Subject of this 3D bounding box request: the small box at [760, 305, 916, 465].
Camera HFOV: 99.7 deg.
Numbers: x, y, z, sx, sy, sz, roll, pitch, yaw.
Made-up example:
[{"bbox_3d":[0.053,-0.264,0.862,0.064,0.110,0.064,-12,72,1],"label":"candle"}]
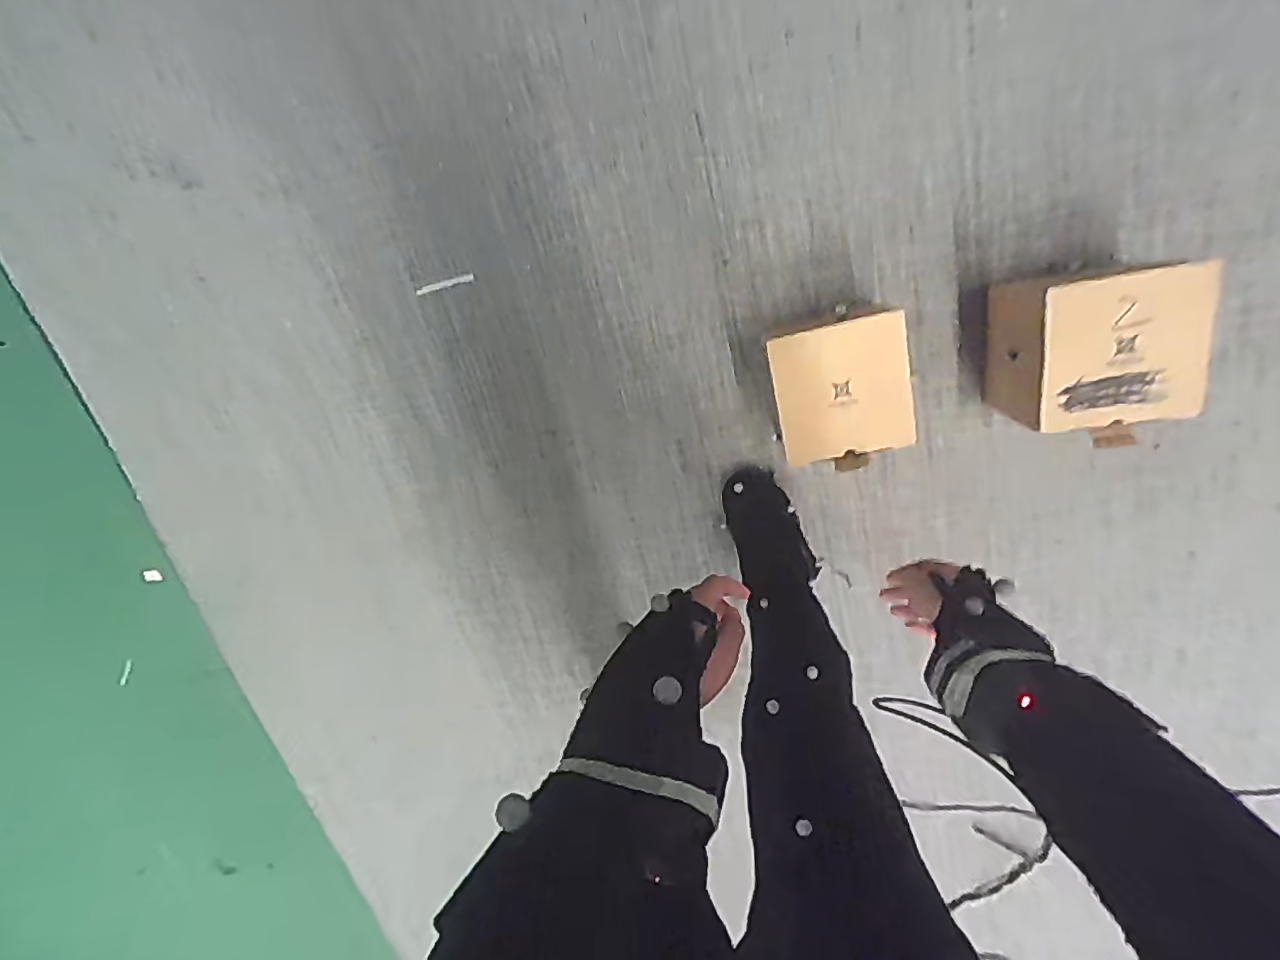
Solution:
[{"bbox_3d":[0.266,-0.139,0.756,0.168,0.176,0.179,-11,108,13],"label":"small box"}]
